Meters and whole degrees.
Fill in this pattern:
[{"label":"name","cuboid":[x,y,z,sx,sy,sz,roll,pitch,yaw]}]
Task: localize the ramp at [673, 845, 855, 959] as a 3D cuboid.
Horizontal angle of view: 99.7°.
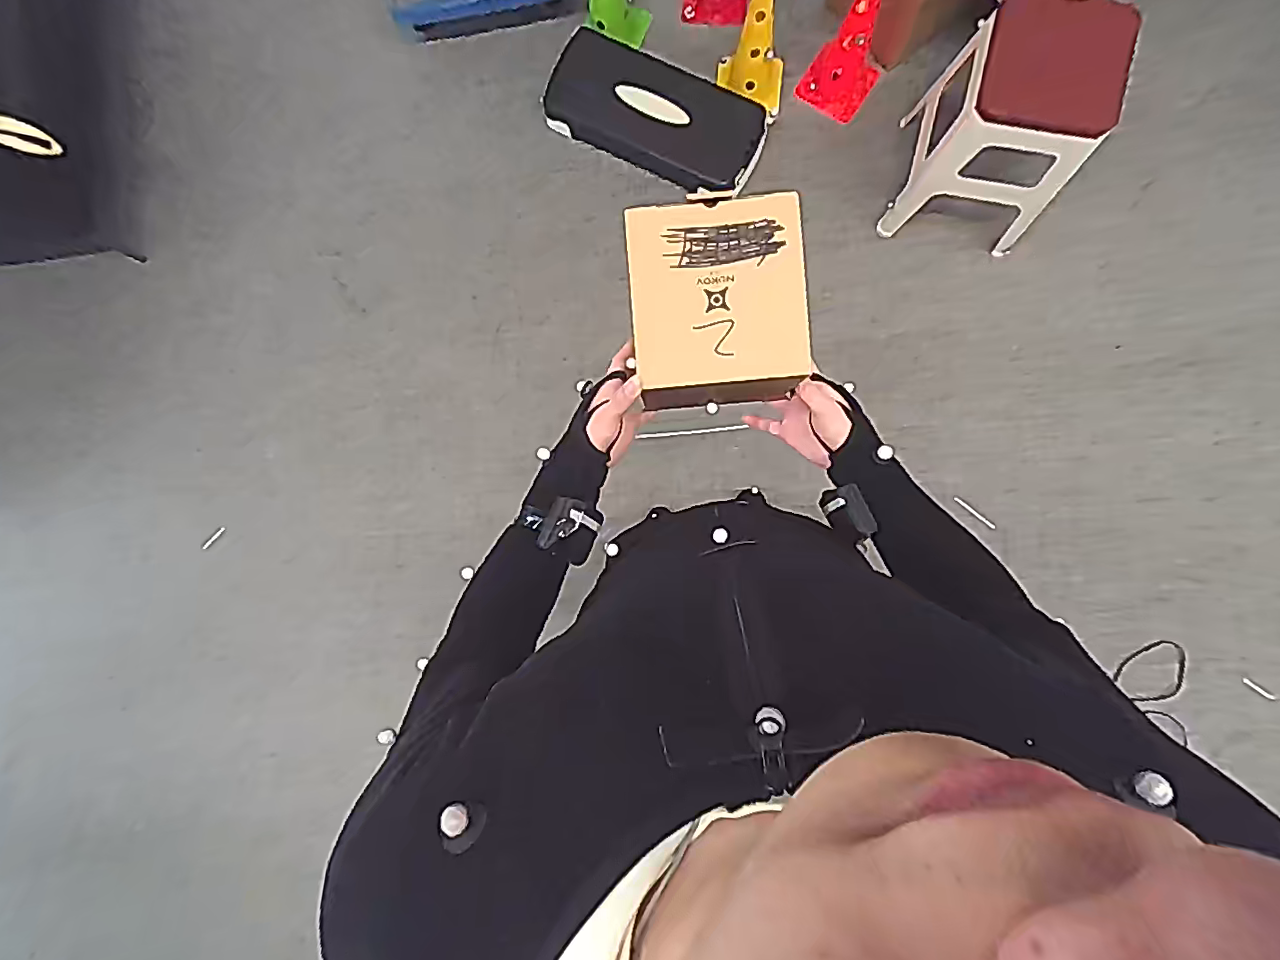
[{"label":"ramp","cuboid":[0.369,1.562,1.469,0.509,0.206,0.991,-7,87,6]}]
